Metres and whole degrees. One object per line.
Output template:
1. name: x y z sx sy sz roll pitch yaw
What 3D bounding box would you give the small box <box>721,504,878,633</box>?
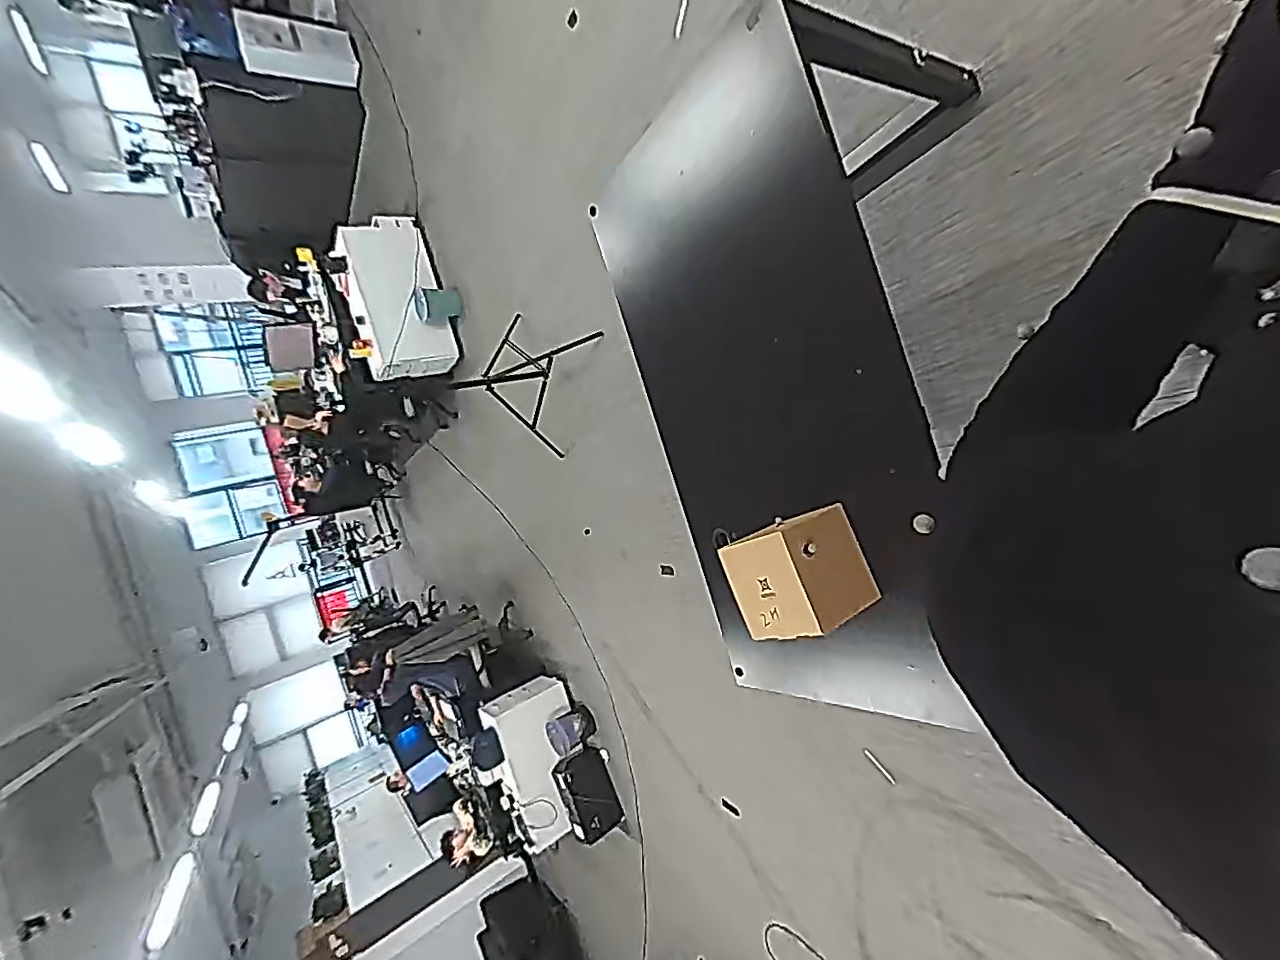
1. small box: 0.282 0.153 0.961 0.168 0.176 0.179 -31 80 56
